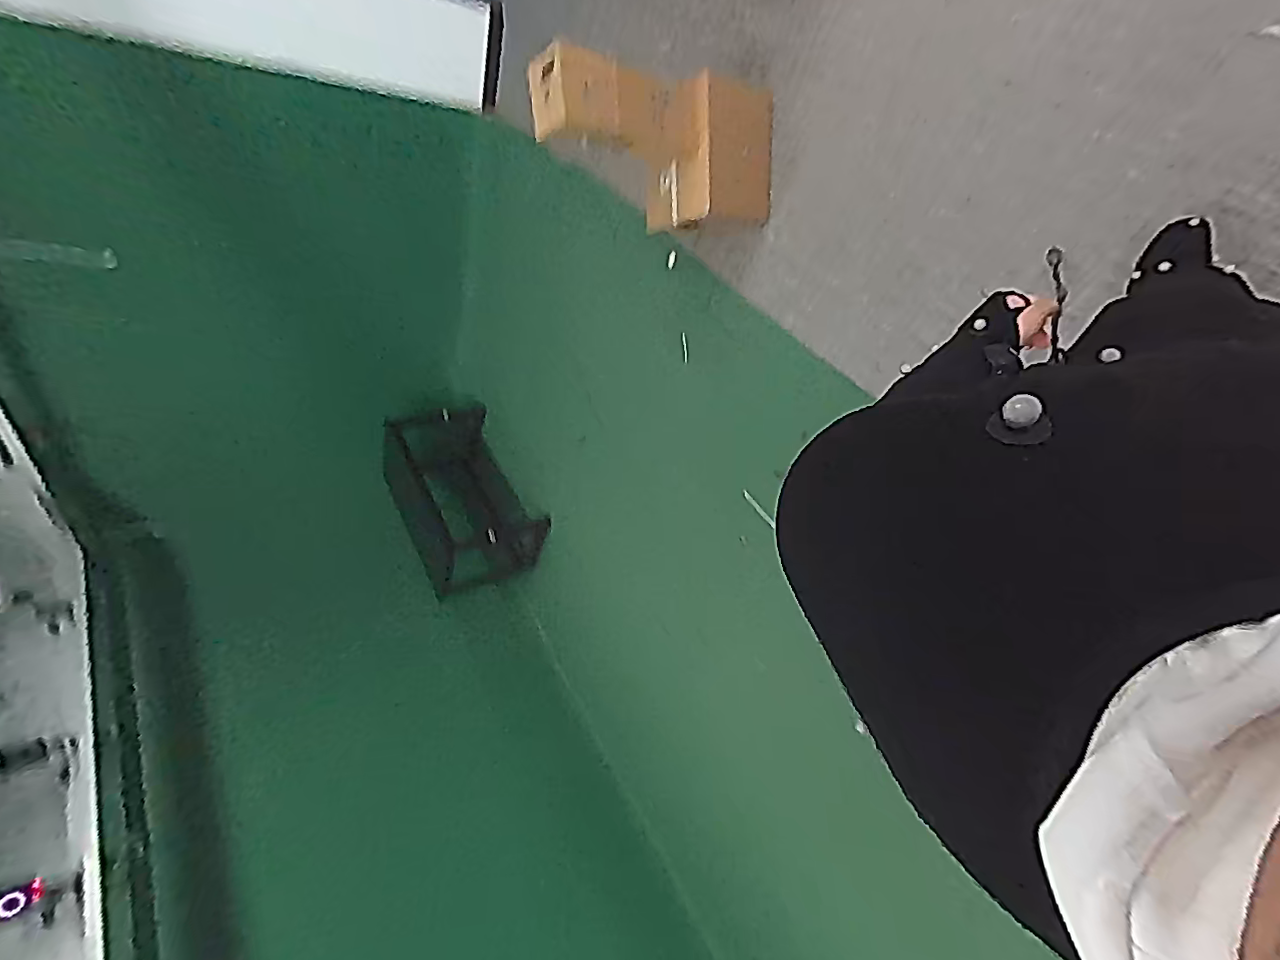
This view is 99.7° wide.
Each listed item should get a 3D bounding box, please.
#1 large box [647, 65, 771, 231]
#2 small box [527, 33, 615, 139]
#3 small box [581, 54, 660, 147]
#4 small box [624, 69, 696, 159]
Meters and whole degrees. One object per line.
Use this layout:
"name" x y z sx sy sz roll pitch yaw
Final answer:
"large box" 0.235 -1.108 1.863 0.320 0.320 0.408 17 116 50
"small box" -0.183 -1.057 1.467 0.168 0.176 0.179 15 115 49
"small box" -0.060 -1.089 1.569 0.179 0.176 0.168 17 116 48
"small box" 0.061 -1.122 1.673 0.168 0.176 0.179 15 114 49
